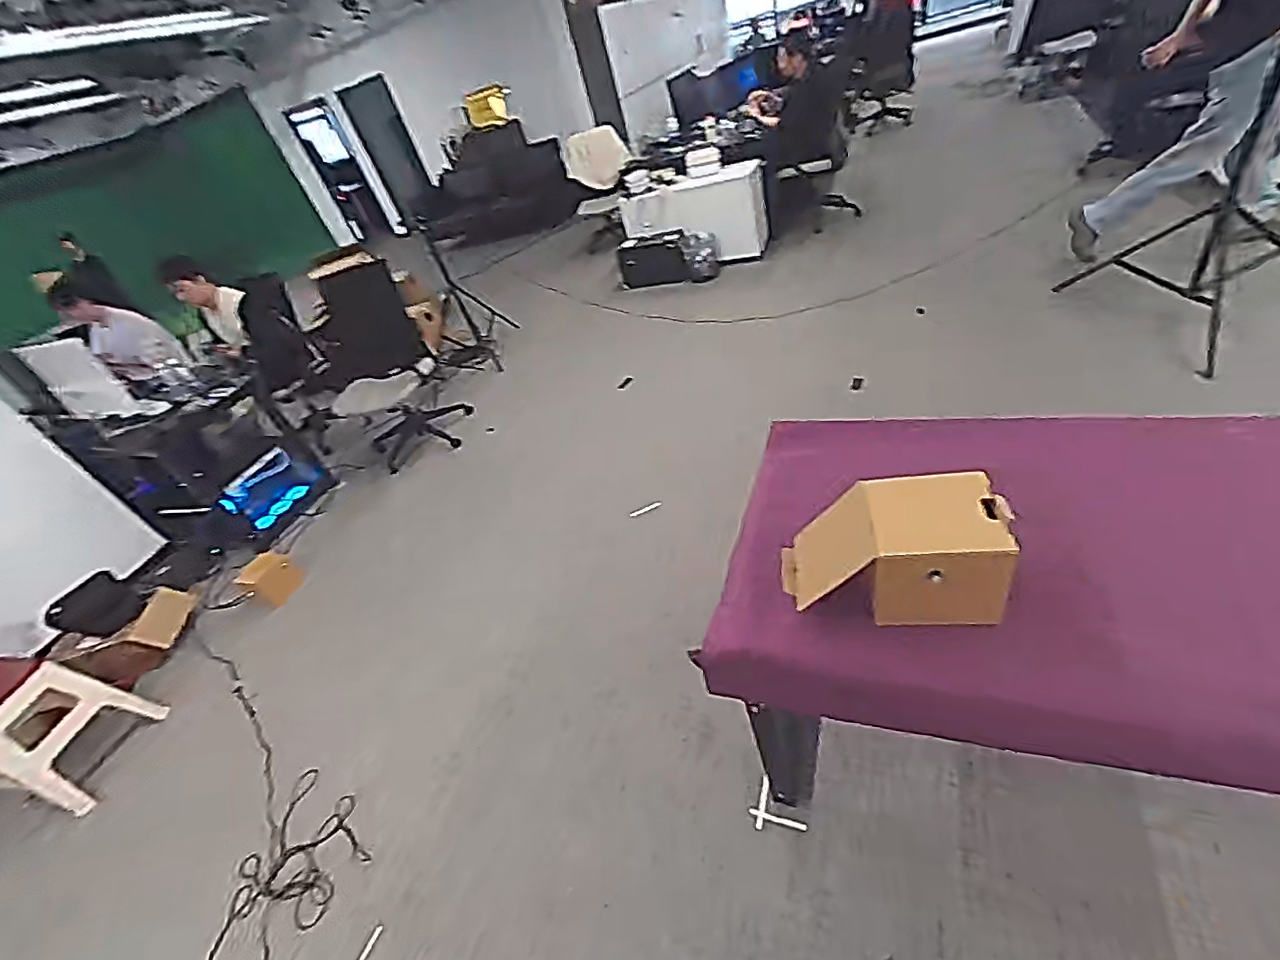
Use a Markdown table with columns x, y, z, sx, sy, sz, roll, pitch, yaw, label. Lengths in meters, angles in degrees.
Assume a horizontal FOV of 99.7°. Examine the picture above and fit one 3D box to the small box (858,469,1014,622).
| x | y | z | sx | sy | sz | roll | pitch | yaw | label |
| --- | --- | --- | --- | --- | --- | --- | --- | --- | --- |
| 0.441 | 0.105 | 0.832 | 0.179 | 0.176 | 0.168 | -5 | 41 | 18 | small box |
